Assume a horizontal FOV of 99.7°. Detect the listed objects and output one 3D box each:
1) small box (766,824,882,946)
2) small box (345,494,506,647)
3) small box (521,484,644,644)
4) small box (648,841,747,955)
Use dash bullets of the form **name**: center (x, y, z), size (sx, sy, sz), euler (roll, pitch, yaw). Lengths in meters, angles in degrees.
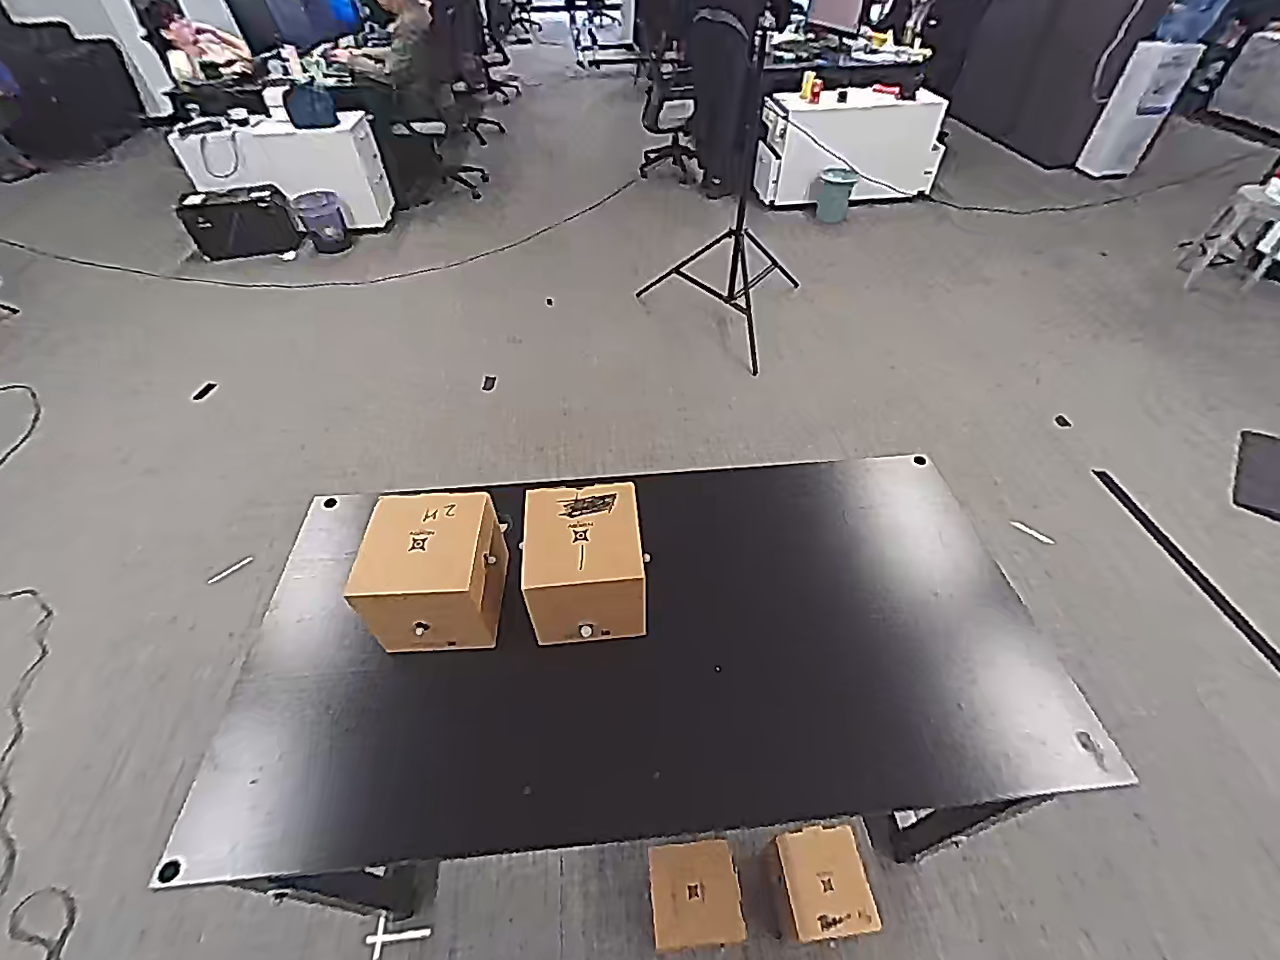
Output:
- **small box**: center (0.373, 0.853, 1.137), size (0.168, 0.176, 0.179), euler (-6, 47, -3)
- **small box**: center (-0.307, 0.143, 0.821), size (0.168, 0.176, 0.179), euler (-2, 47, -2)
- **small box**: center (-0.083, 0.129, 0.829), size (0.168, 0.176, 0.179), euler (-5, 48, -3)
- **small box**: center (0.111, 0.872, 1.129), size (0.179, 0.176, 0.168), euler (-6, 46, -2)
